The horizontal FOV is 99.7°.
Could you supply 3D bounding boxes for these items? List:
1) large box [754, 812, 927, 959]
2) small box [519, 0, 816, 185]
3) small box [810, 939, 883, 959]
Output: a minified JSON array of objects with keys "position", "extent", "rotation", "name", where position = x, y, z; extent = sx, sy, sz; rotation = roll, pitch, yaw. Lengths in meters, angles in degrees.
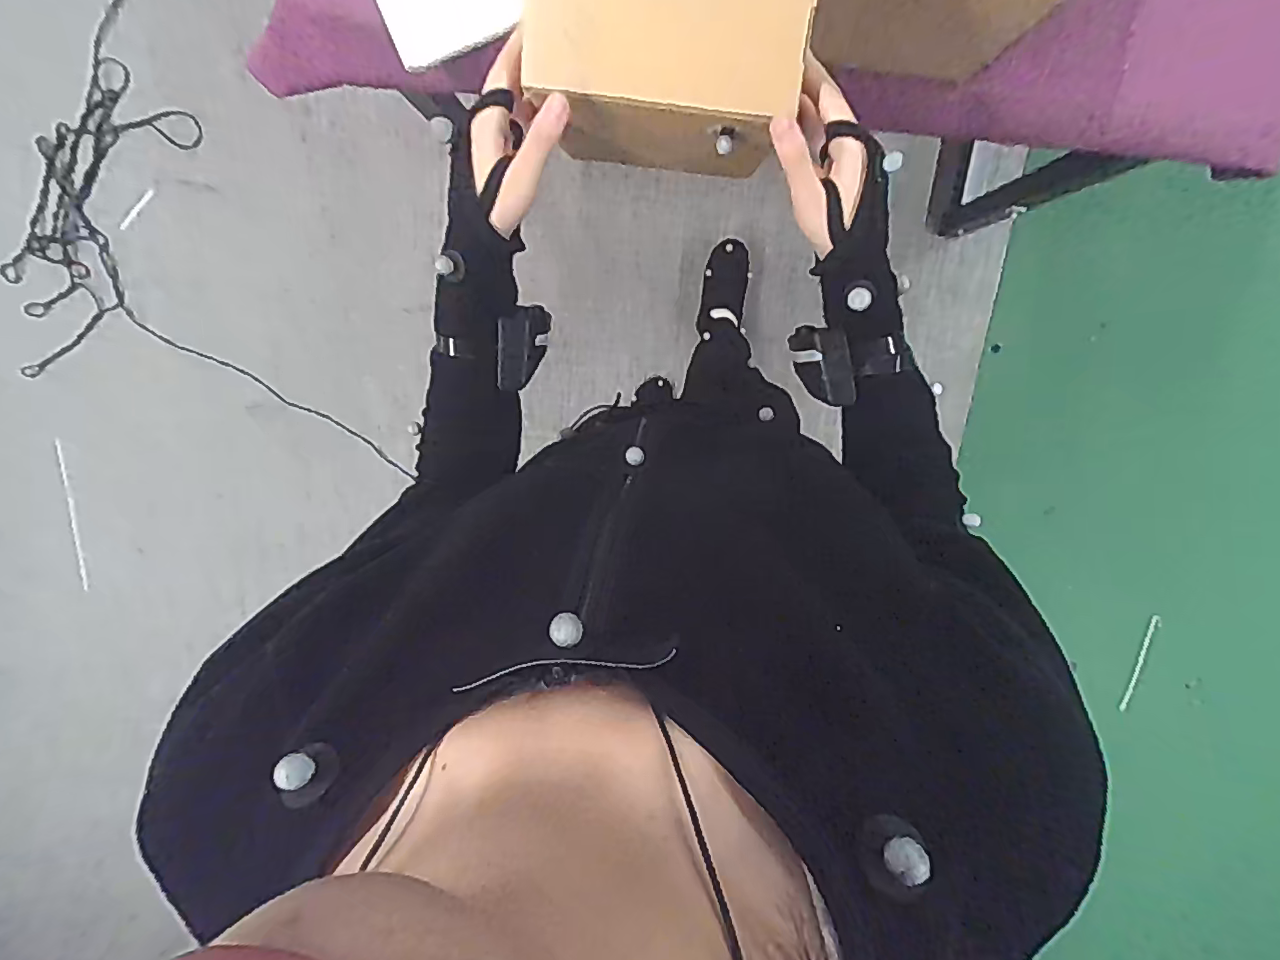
[{"position":[0.584,1.264,1.622],"extent":[0.408,0.320,0.320],"rotation":[-9,103,3],"name":"large box"},{"position":[0.021,-0.329,0.391],"extent":[0.179,0.176,0.168],"rotation":[6,108,-2],"name":"small box"},{"position":[0.548,1.322,1.386],"extent":[0.179,0.176,0.168],"rotation":[-5,101,4],"name":"small box"}]
